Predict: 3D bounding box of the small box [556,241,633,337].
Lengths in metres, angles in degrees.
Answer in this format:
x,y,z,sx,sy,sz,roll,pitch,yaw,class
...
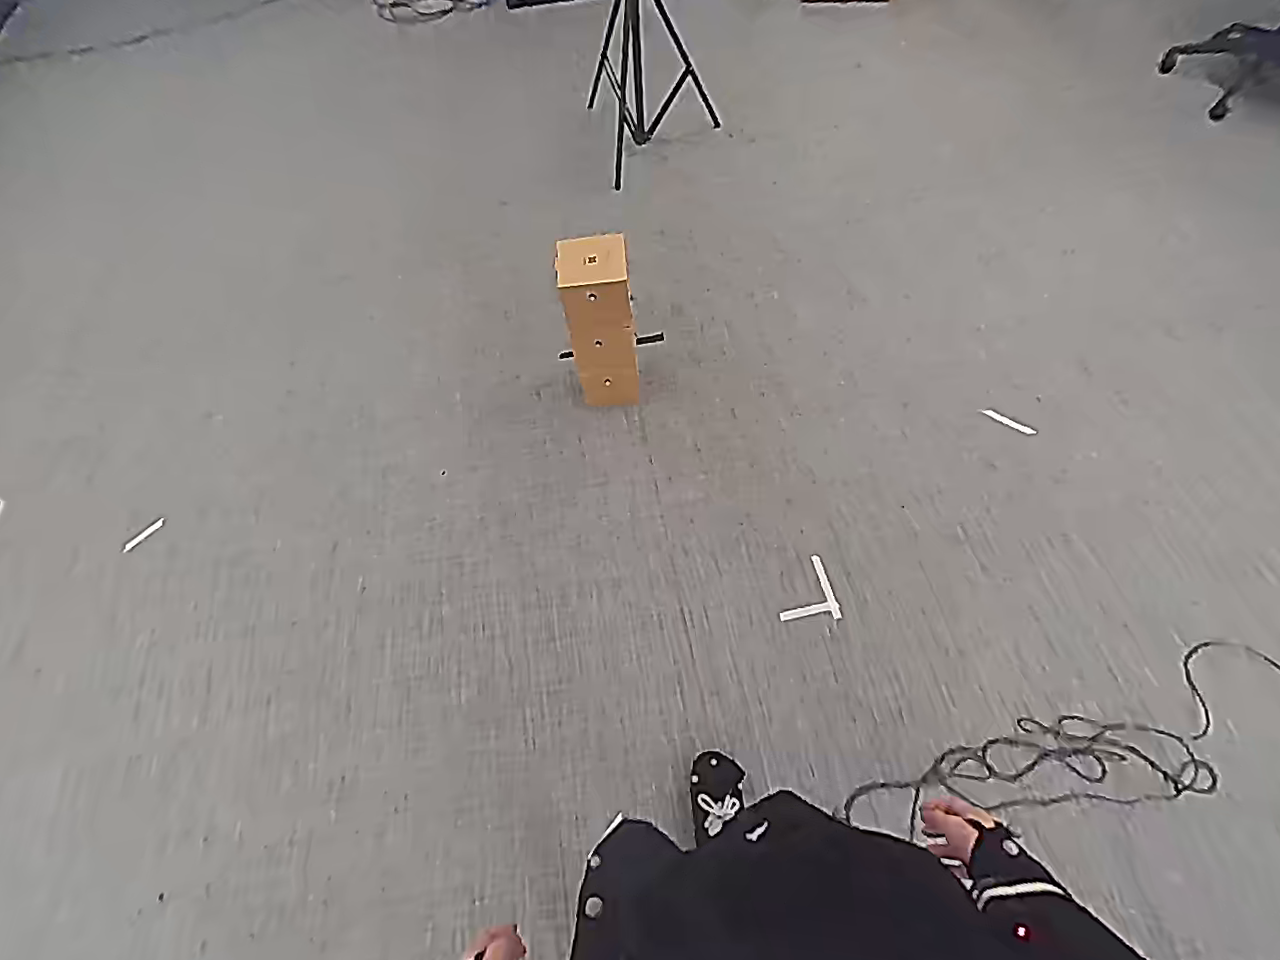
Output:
x,y,z,sx,sy,sz,roll,pitch,yaw,class
-0.117,-0.496,1.423,0.179,0.176,0.168,-6,64,1,small box

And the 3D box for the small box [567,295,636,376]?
x,y,z,sx,sy,sz,roll,pitch,yaw,class
-0.106,-0.416,1.564,0.179,0.176,0.168,-3,64,3,small box

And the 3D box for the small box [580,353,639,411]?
x,y,z,sx,sy,sz,roll,pitch,yaw,class
-0.094,-0.335,1.707,0.179,0.176,0.168,-6,63,1,small box
